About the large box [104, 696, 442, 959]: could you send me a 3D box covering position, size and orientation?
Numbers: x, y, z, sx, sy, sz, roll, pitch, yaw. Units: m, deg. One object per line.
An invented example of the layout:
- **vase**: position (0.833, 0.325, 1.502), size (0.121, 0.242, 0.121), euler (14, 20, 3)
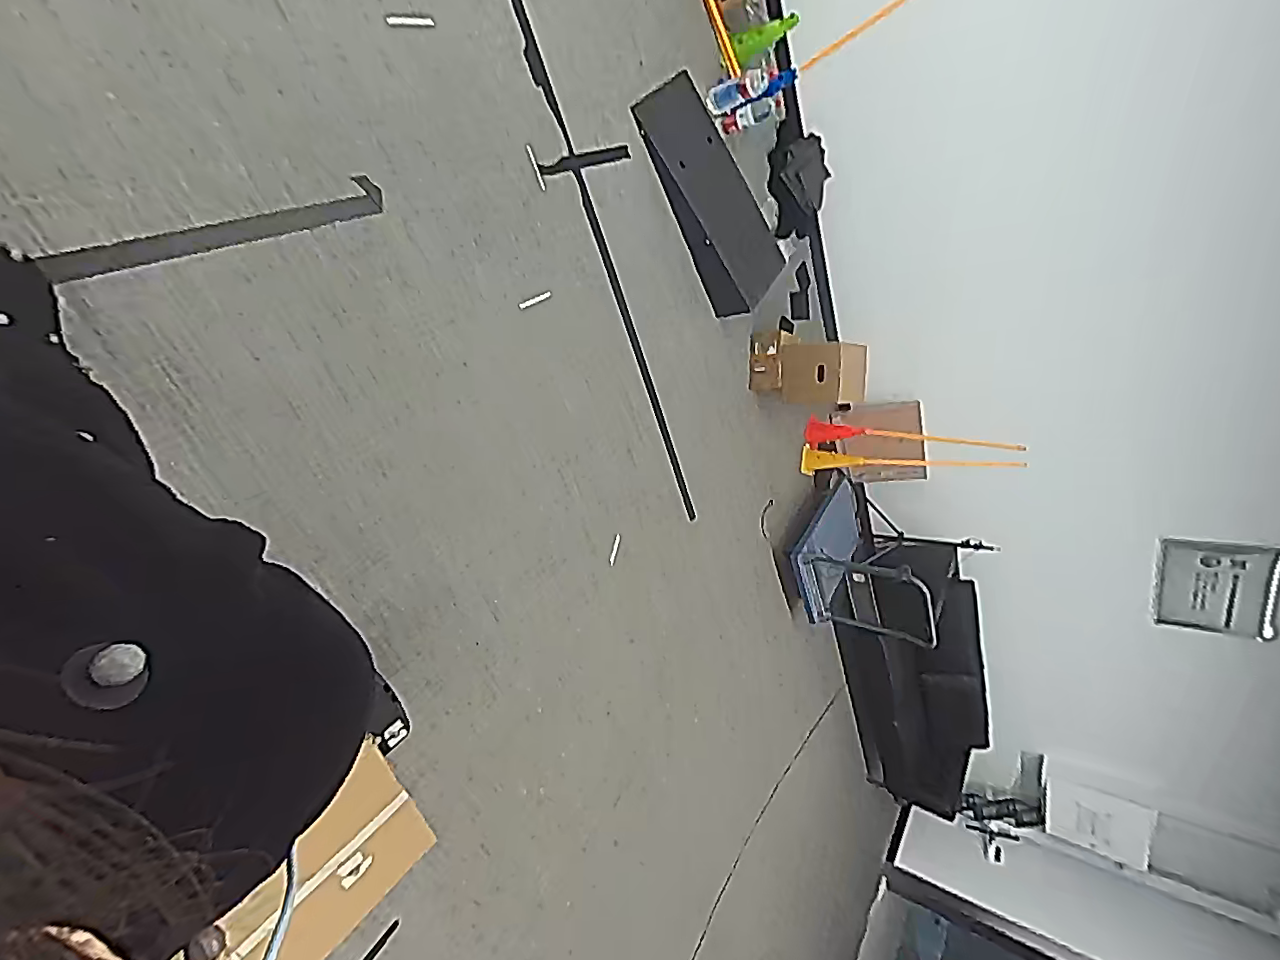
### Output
- **large box**: position (-0.686, 0.710, 1.049), size (0.408, 0.320, 0.320), euler (-38, 120, -42)
